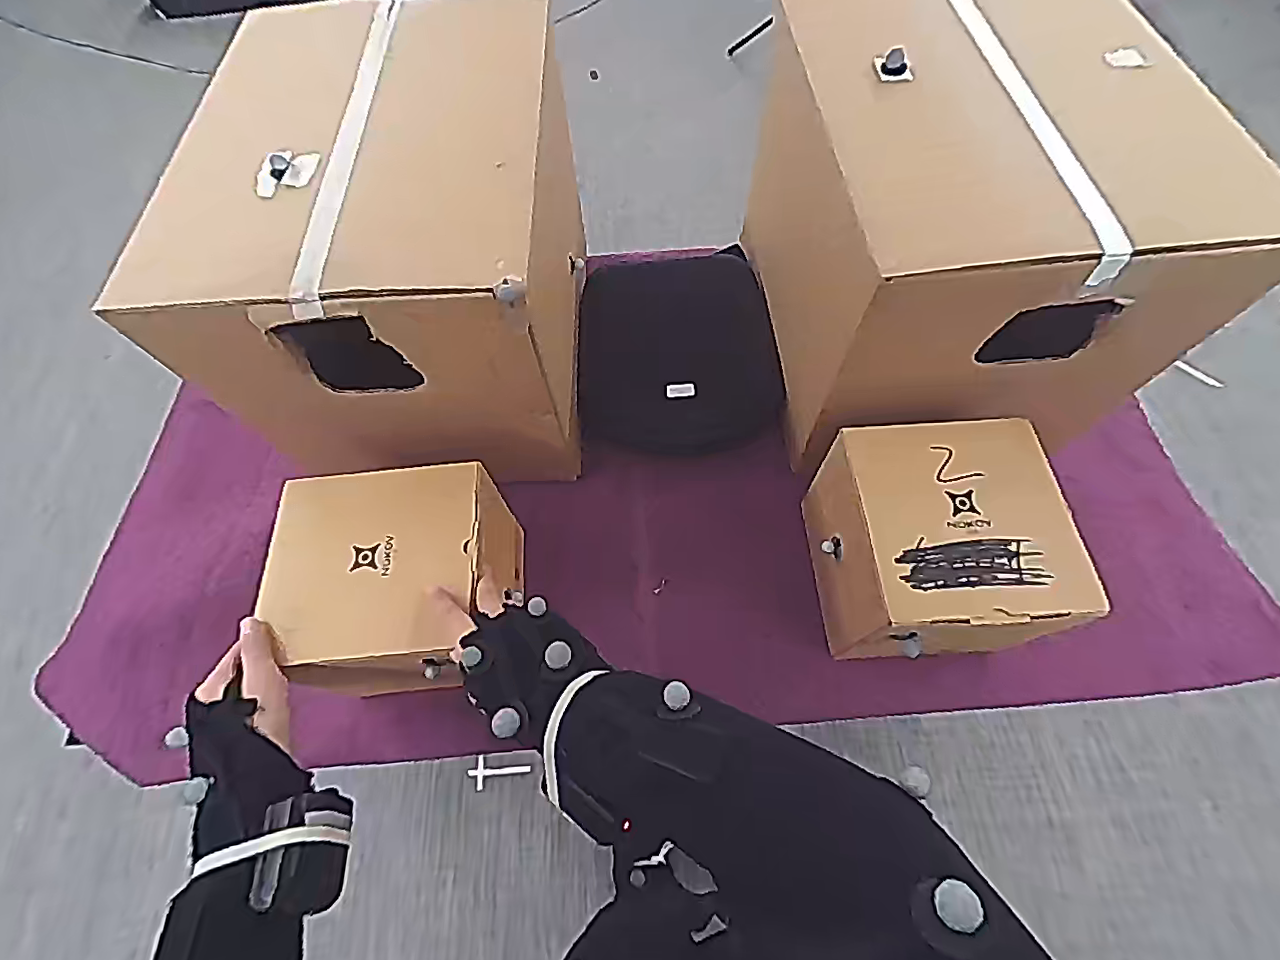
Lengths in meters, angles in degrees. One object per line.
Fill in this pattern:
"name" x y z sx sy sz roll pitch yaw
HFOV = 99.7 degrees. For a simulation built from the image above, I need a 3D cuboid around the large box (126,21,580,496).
"large box" -0.239 -0.227 0.616 0.320 0.320 0.408 -3 66 1
